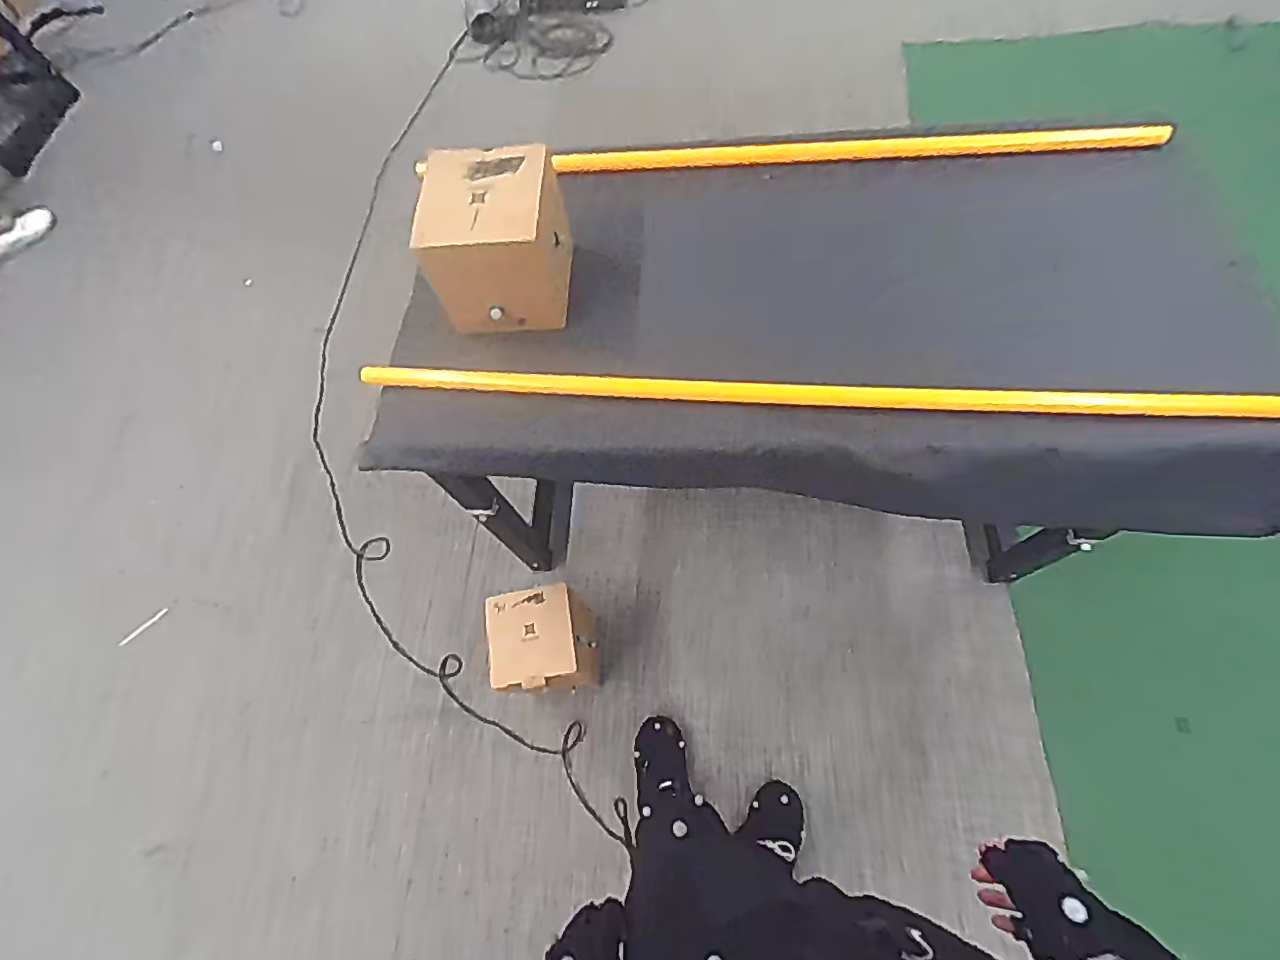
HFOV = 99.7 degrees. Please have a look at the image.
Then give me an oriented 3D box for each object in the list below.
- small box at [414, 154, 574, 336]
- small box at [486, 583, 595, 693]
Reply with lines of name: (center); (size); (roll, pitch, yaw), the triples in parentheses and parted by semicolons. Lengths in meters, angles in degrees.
small box: (-0.194, -0.330, 0.777); (0.168, 0.176, 0.179); (-1, 66, 6)
small box: (-0.198, 0.330, 1.105); (0.168, 0.176, 0.179); (-15, 65, 2)
